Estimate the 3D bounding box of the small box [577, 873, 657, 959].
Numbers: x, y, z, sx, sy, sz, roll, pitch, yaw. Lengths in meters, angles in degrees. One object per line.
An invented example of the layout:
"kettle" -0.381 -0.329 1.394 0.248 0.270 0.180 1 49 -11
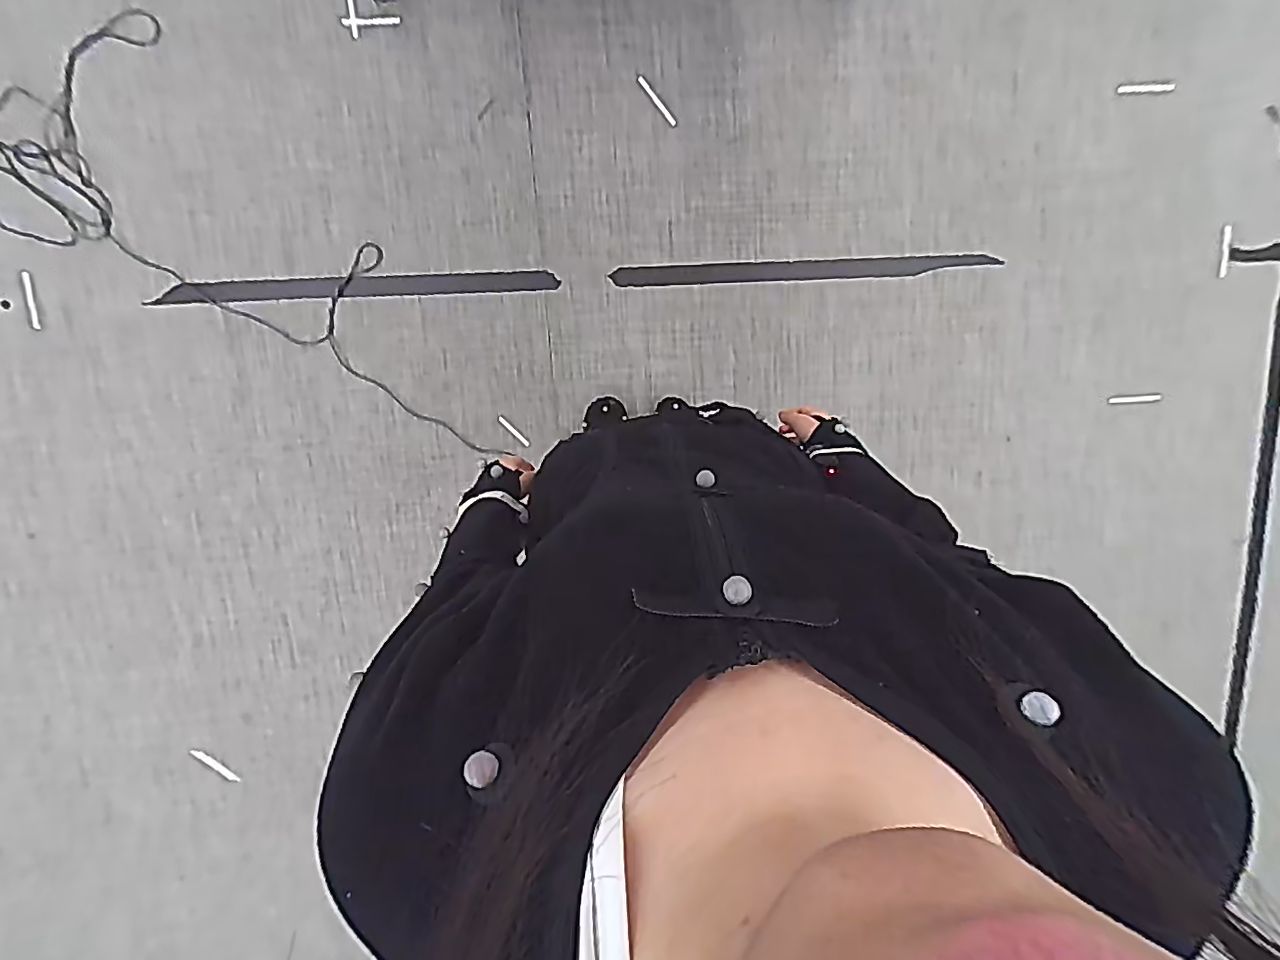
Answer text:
"small box" -0.052 1.079 1.287 0.179 0.176 0.168 -5 98 -1
